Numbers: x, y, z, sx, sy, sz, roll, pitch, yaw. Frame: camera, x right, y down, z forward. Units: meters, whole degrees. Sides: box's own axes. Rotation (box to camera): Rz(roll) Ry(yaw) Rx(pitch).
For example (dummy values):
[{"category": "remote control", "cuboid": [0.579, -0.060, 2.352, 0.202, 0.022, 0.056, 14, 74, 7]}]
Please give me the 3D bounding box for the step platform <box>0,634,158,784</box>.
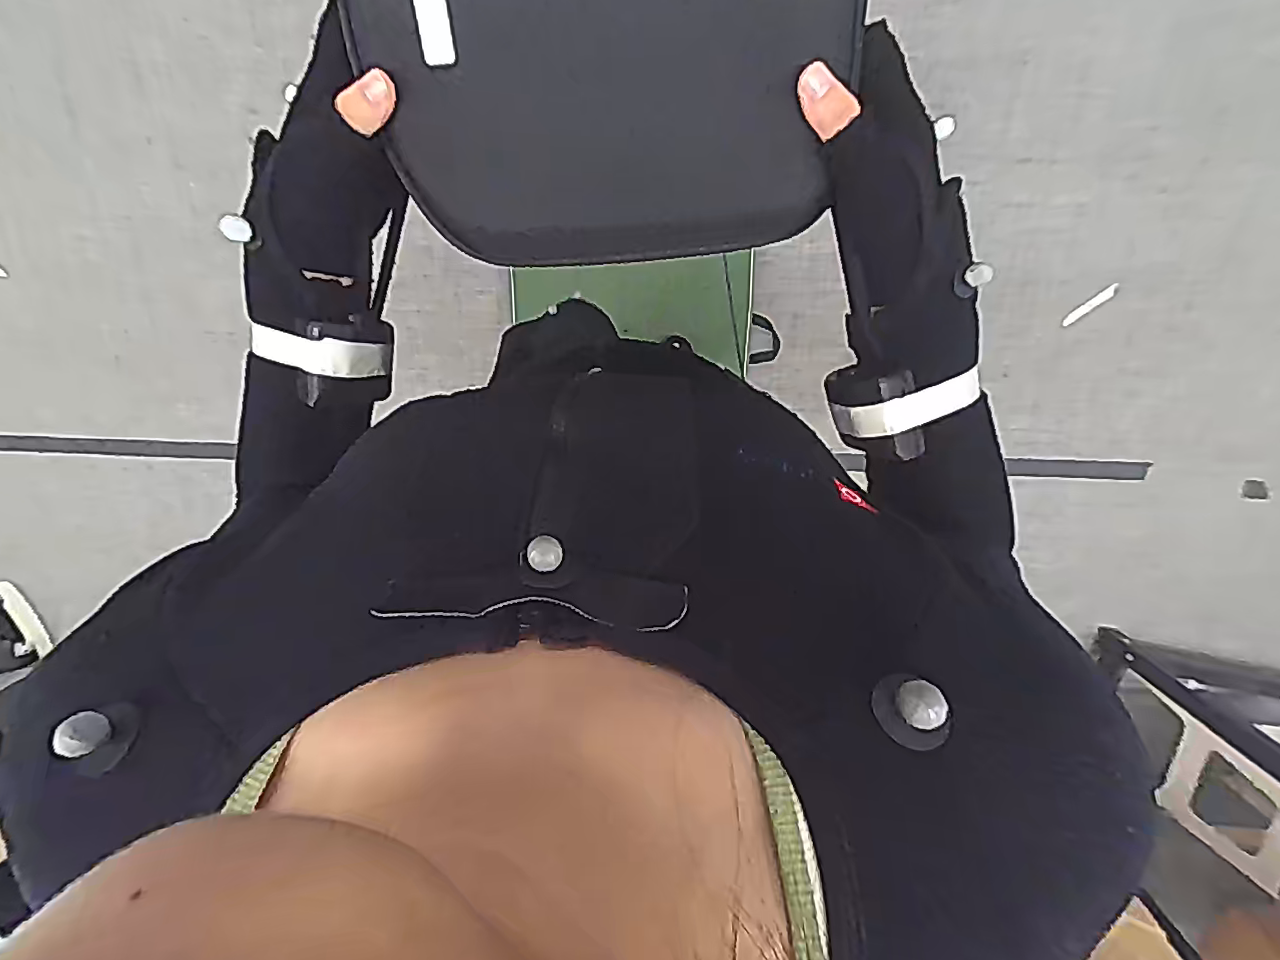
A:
[{"category": "step platform", "cuboid": [-2.009, 0.783, 1.804, 0.684, 0.204, 0.286, -27, 103, 10]}]
